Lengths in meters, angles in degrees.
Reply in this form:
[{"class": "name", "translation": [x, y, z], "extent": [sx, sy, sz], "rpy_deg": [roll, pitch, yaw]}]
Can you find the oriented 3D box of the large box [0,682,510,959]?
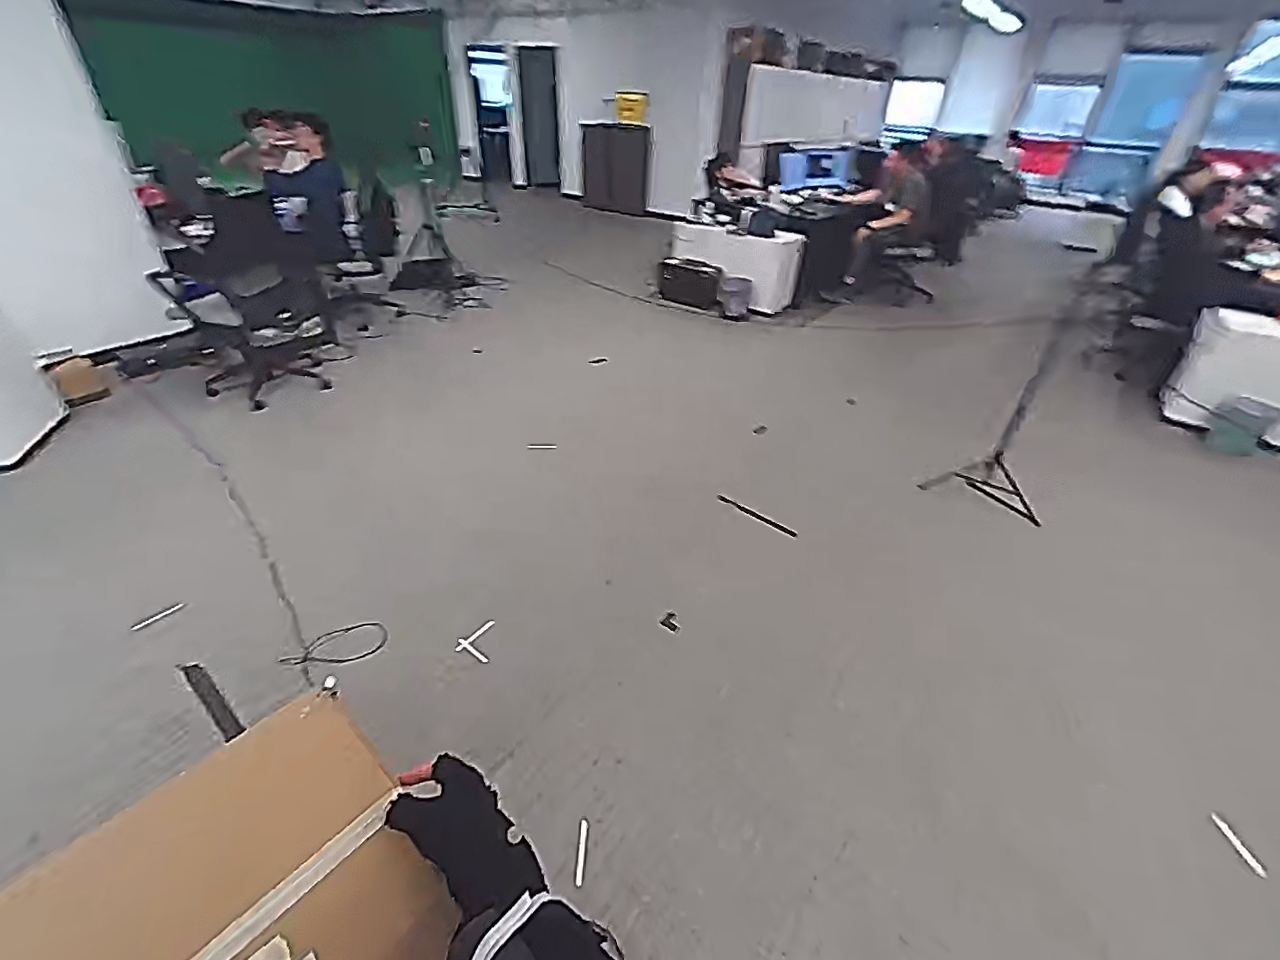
[{"class": "large box", "translation": [-0.375, 0.493, 0.502], "extent": [0.320, 0.320, 0.408], "rpy_deg": [37, 48, 24]}]
